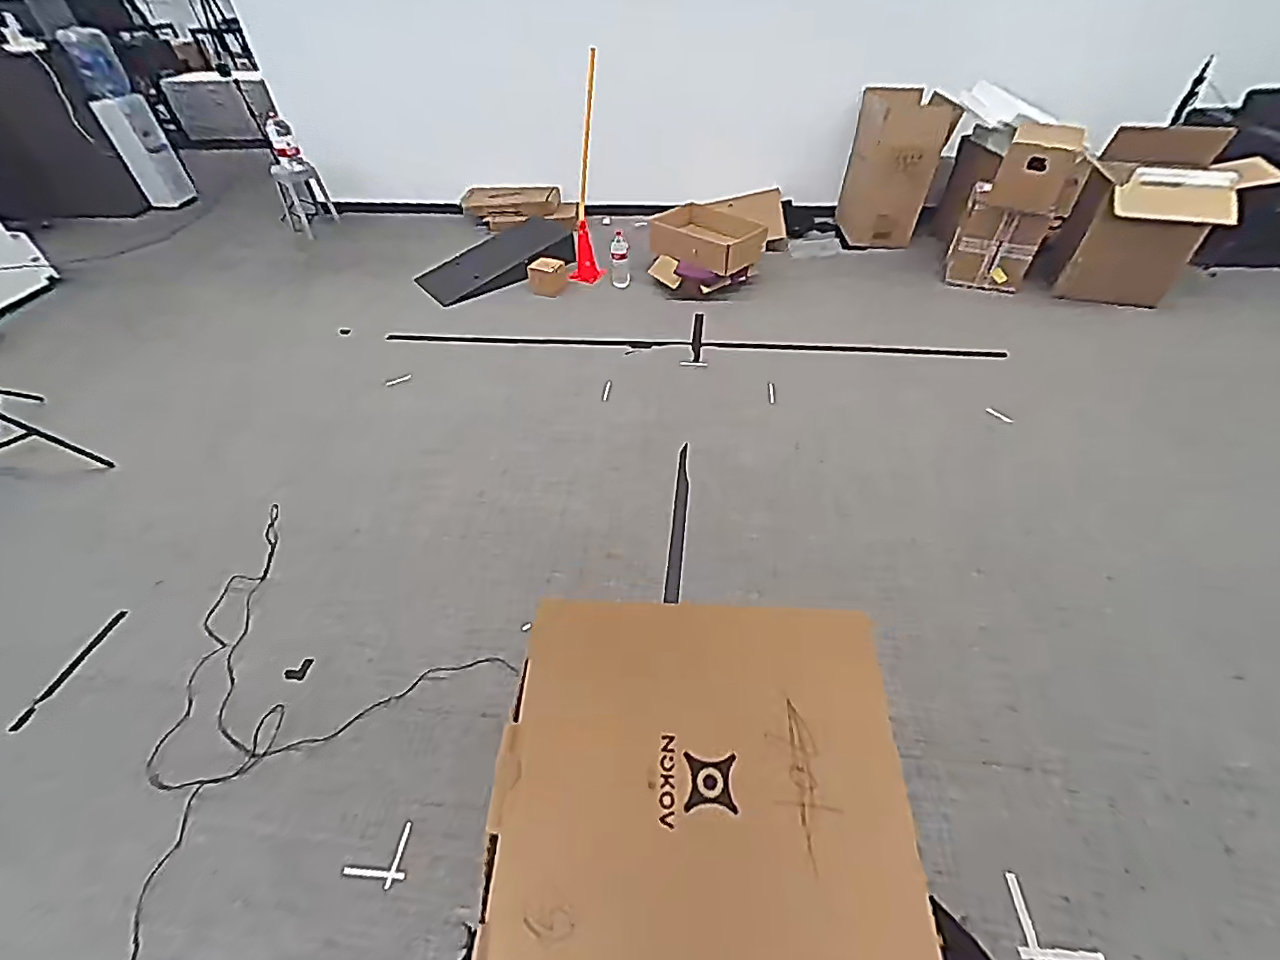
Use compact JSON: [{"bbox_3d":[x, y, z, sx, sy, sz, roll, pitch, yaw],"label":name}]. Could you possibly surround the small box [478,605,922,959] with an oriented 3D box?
[{"bbox_3d":[0.027,0.184,0.313,0.179,0.176,0.168,1,54,2],"label":"small box"}]
